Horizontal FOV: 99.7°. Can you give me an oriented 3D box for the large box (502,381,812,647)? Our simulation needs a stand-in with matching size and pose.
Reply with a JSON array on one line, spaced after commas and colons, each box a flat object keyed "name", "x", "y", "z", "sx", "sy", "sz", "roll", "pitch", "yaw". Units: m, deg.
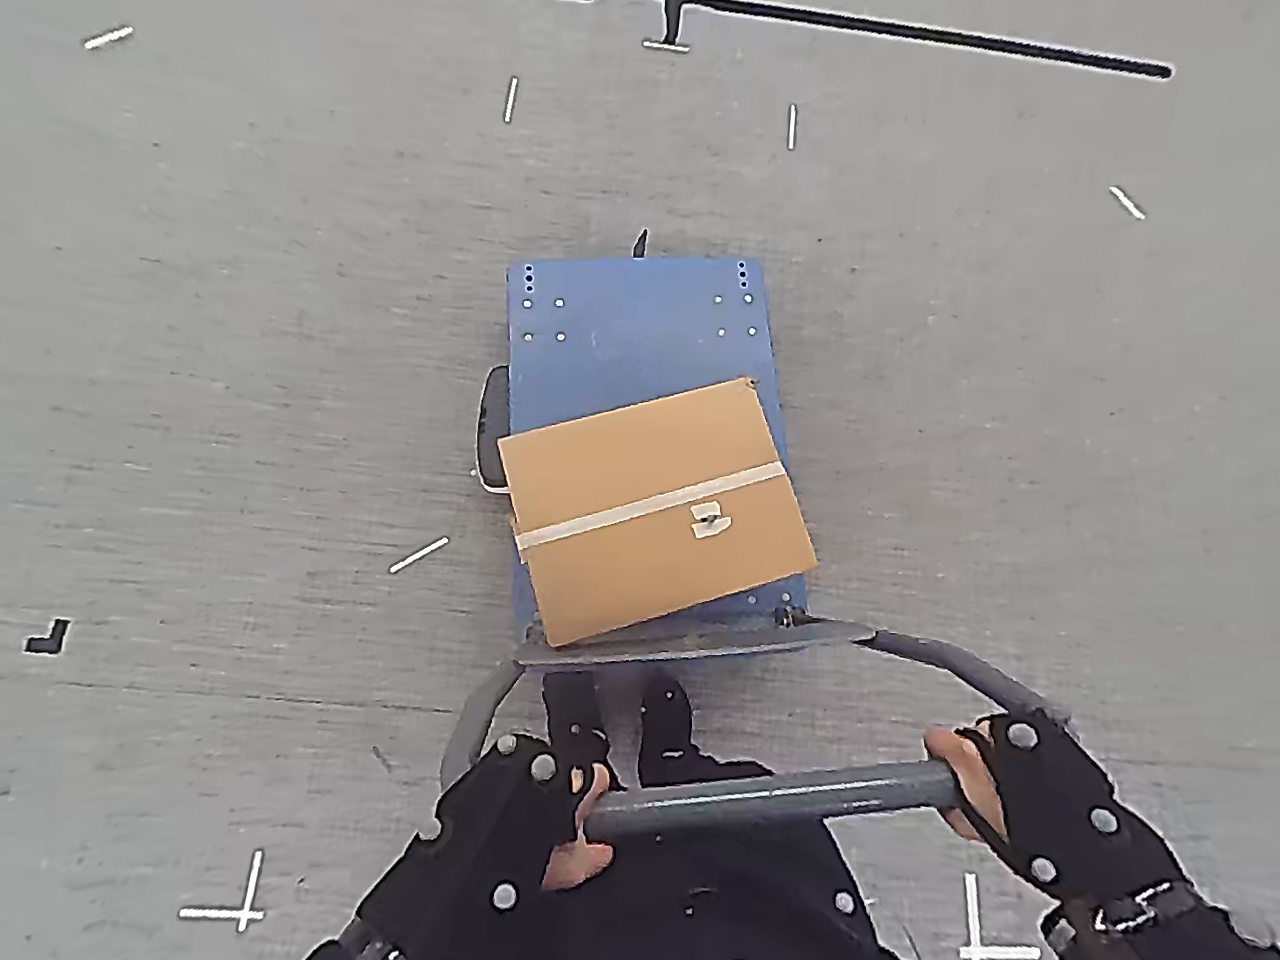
[{"name": "large box", "x": 0.011, "y": 0.072, "z": 0.944, "sx": 0.408, "sy": 0.320, "sz": 0.320, "roll": -15, "pitch": 79, "yaw": -9}]
